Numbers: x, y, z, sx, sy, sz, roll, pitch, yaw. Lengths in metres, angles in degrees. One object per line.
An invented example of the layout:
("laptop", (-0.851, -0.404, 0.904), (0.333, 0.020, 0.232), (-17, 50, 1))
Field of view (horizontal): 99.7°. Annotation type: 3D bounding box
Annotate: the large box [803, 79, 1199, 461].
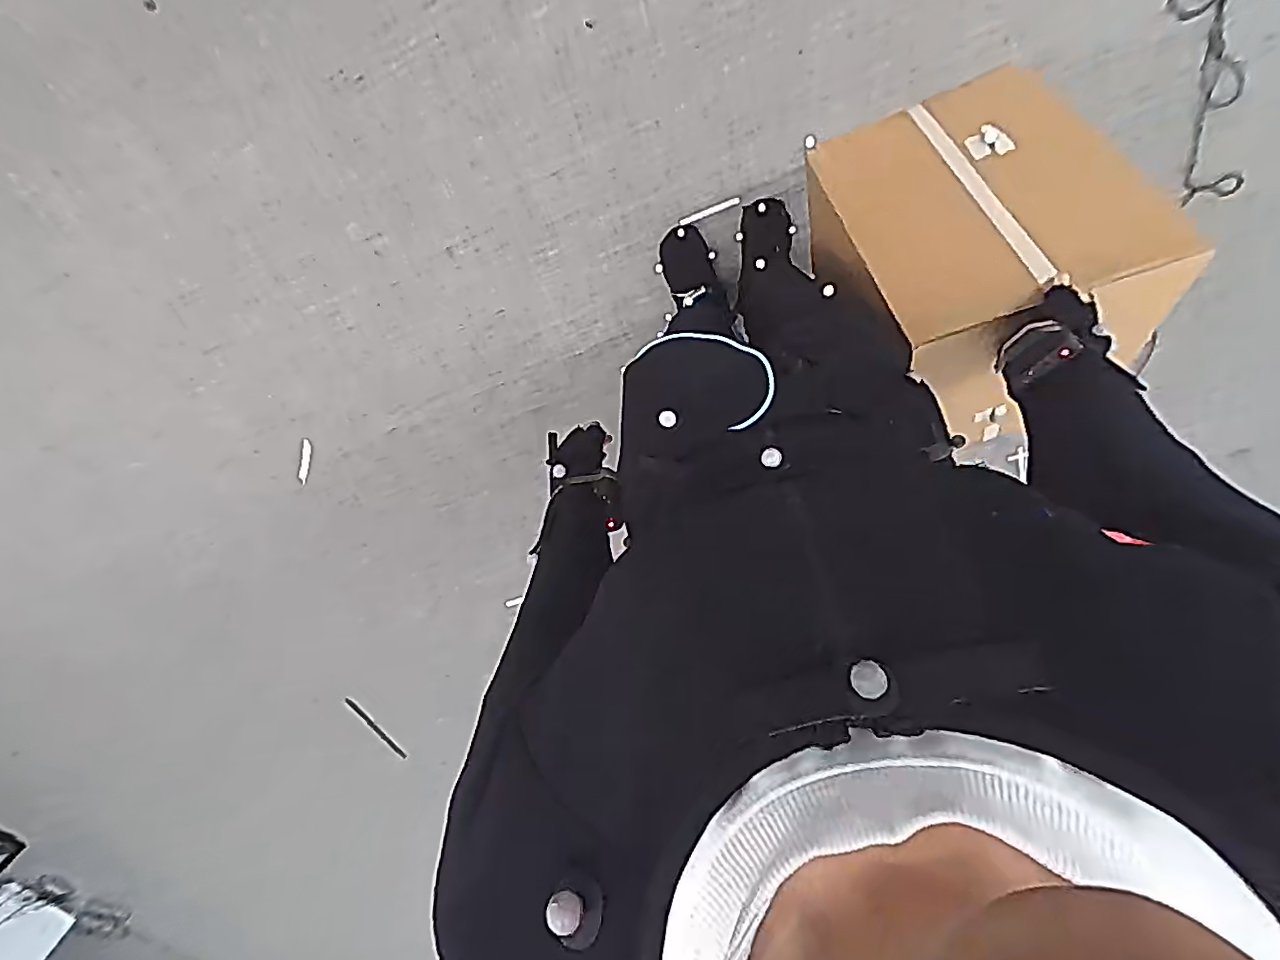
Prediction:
("large box", (0.478, -0.303, 0.836), (0.320, 0.408, 0.320), (-18, 149, 10))
